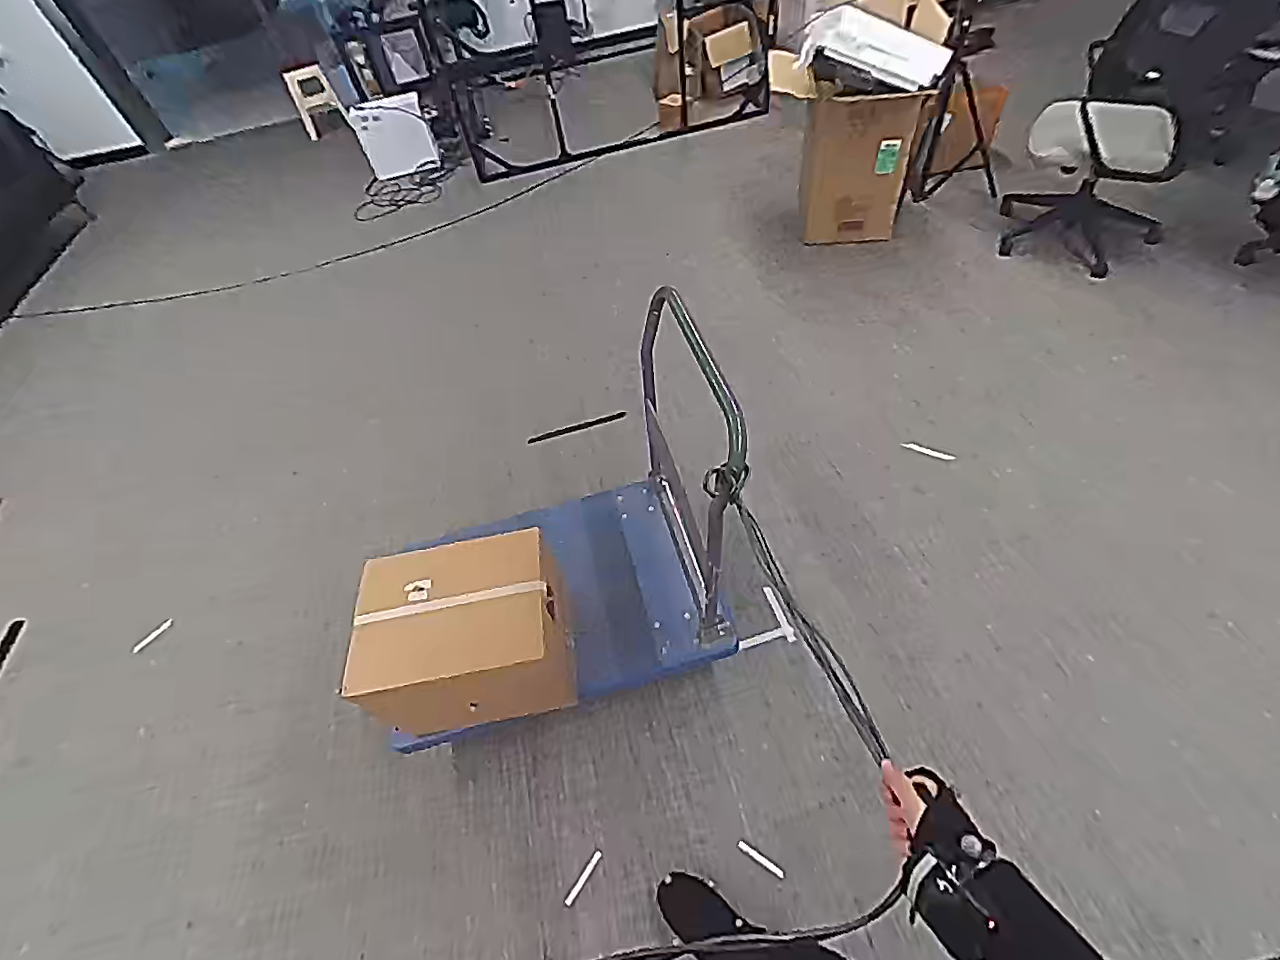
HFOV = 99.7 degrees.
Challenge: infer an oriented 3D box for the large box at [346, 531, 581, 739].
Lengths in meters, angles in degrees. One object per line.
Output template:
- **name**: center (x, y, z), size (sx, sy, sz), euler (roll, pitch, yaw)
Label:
- **large box**: center (-0.375, 0.362, 1.243), size (0.408, 0.320, 0.320), euler (-12, 50, 0)
